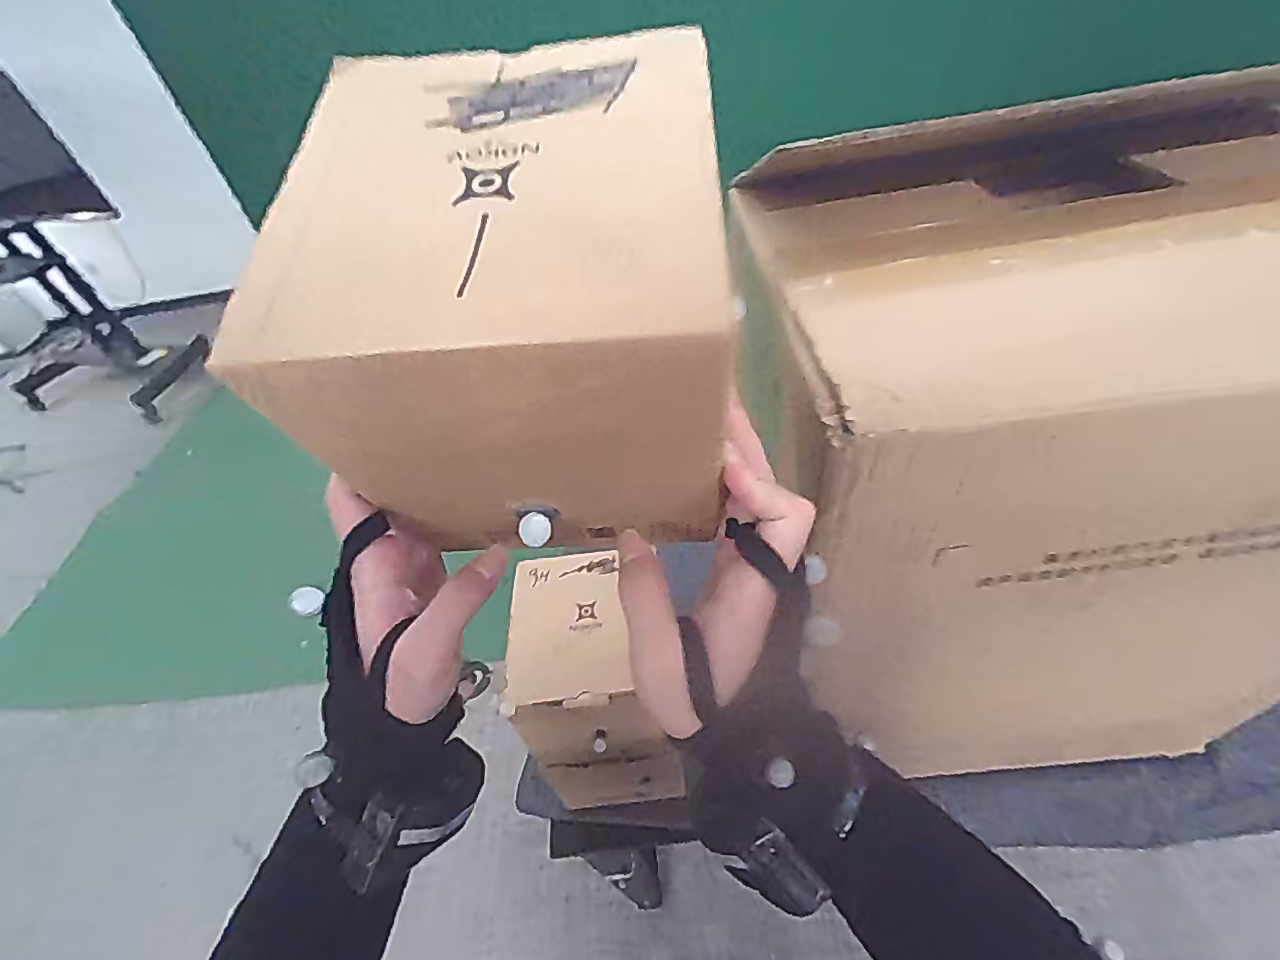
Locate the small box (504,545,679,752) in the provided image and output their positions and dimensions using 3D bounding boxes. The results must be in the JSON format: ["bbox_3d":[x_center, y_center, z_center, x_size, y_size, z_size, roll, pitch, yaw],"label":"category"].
[{"bbox_3d":[-0.047,0.203,0.635,0.168,0.176,0.179,-7,45,2],"label":"small box"}]

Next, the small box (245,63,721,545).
[{"bbox_3d":[-0.048,-0.079,0.289,0.168,0.176,0.179,-3,61,5],"label":"small box"}]

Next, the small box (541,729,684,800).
[{"bbox_3d":[-0.033,0.322,0.746,0.168,0.176,0.179,-7,43,1],"label":"small box"}]
